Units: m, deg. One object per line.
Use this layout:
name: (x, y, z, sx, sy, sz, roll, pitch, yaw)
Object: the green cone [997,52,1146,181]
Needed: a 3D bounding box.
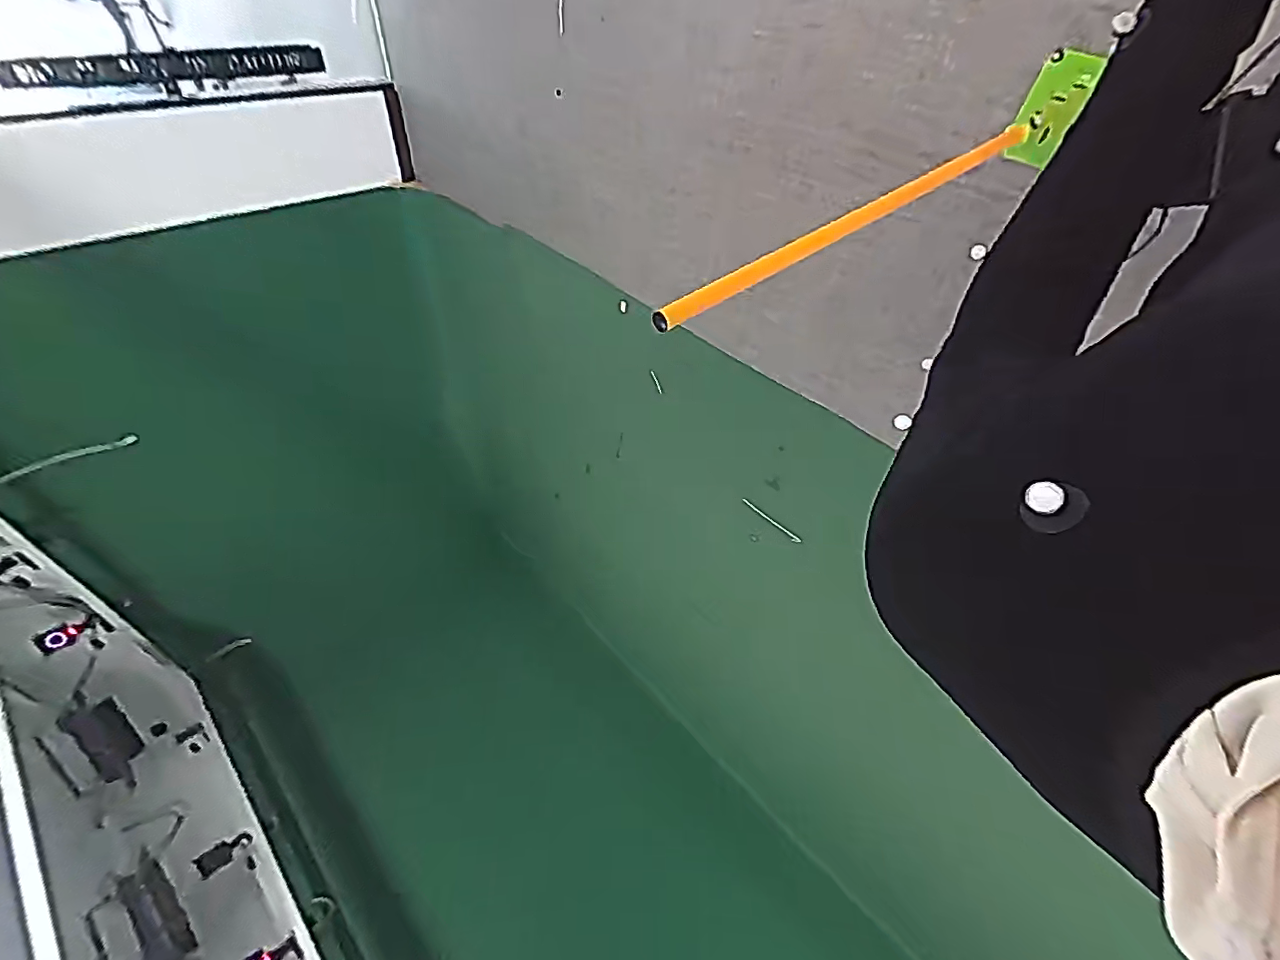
green cone: (0.788, -0.689, 1.061, 0.202, 0.368, 0.200, 38, 144, 24)
